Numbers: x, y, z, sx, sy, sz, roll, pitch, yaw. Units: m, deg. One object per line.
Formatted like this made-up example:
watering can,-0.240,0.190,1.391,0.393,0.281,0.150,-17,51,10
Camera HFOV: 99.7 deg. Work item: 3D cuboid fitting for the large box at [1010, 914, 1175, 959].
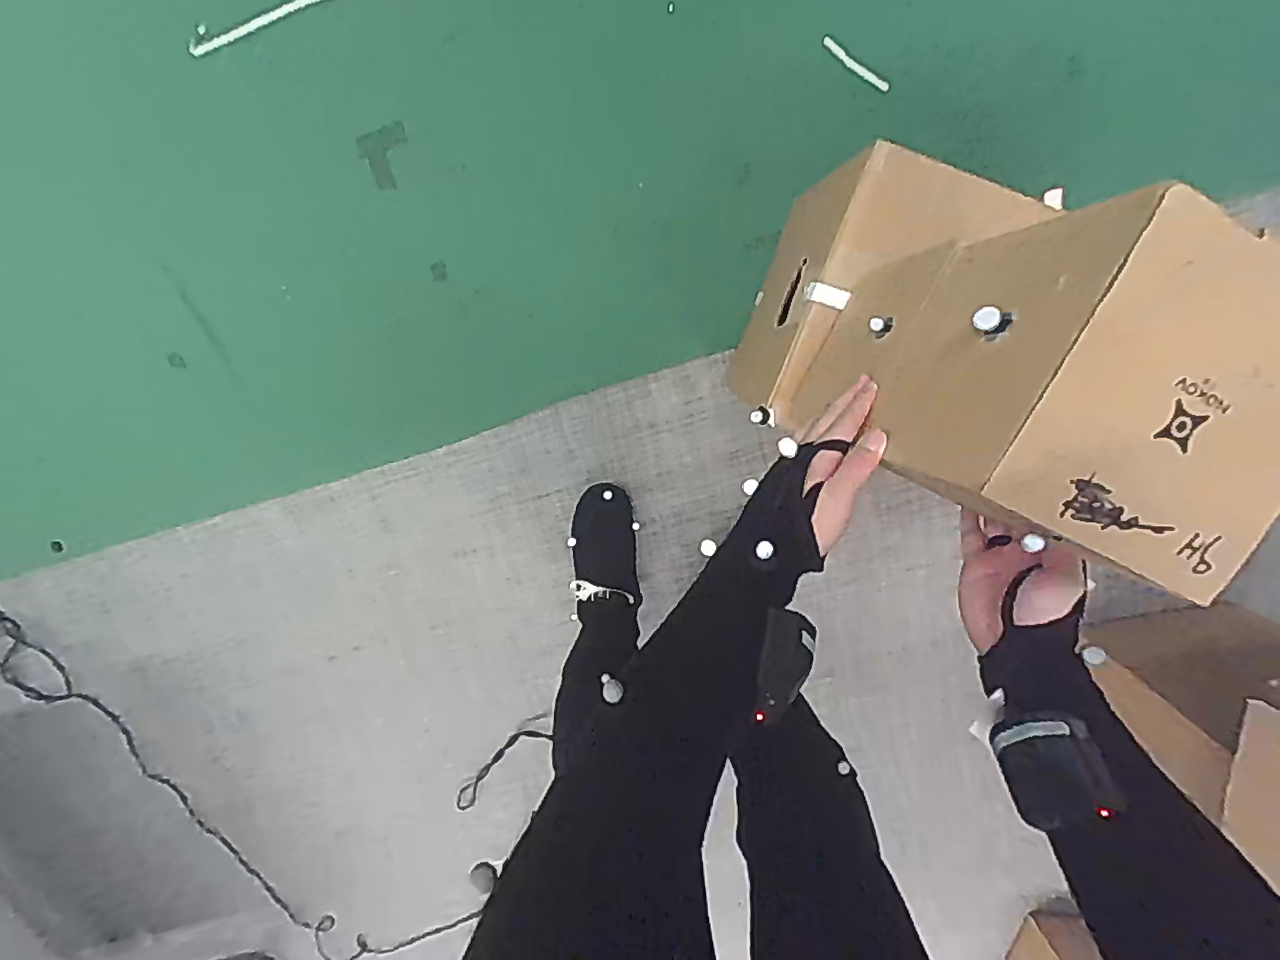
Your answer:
large box,1.089,1.320,1.253,0.320,0.320,0.408,6,107,-2

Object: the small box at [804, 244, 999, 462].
small box,0.287,-0.092,0.522,0.168,0.176,0.179,26,100,-8

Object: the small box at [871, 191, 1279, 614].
small box,0.292,-0.048,0.364,0.168,0.176,0.179,25,99,-8
